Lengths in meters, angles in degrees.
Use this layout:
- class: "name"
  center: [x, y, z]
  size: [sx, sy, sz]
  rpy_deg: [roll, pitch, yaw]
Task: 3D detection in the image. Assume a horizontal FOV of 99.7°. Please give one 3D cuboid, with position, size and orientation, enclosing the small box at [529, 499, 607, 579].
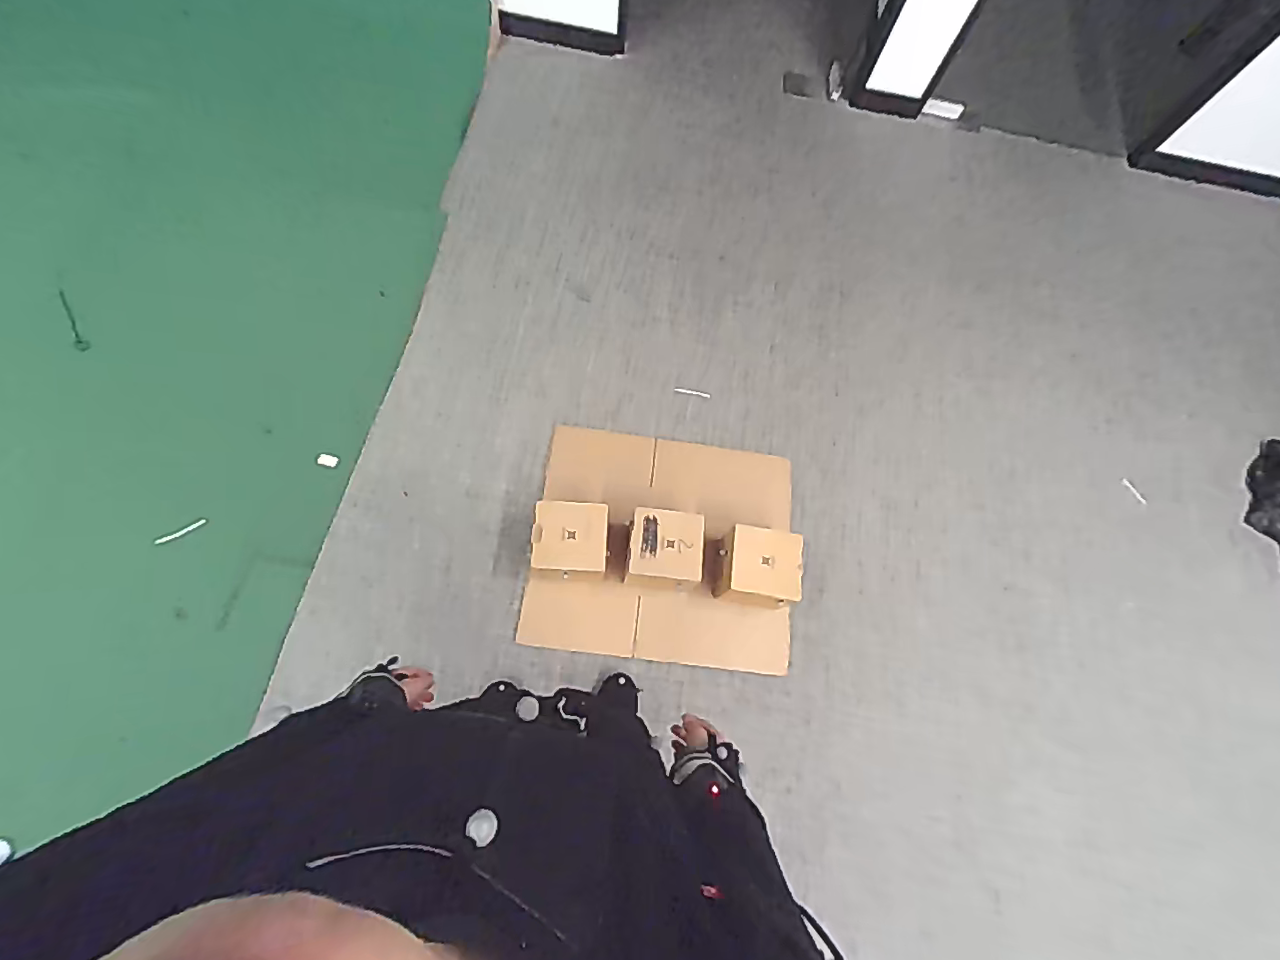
- class: "small box"
  center: [-0.175, 0.152, 1.343]
  size: [0.179, 0.176, 0.168]
  rpy_deg: [4, 71, -6]

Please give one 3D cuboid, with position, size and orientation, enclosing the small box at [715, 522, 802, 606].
- class: "small box"
  center: [0.295, 0.219, 1.370]
  size: [0.179, 0.176, 0.168]
  rpy_deg: [10, 69, -3]
